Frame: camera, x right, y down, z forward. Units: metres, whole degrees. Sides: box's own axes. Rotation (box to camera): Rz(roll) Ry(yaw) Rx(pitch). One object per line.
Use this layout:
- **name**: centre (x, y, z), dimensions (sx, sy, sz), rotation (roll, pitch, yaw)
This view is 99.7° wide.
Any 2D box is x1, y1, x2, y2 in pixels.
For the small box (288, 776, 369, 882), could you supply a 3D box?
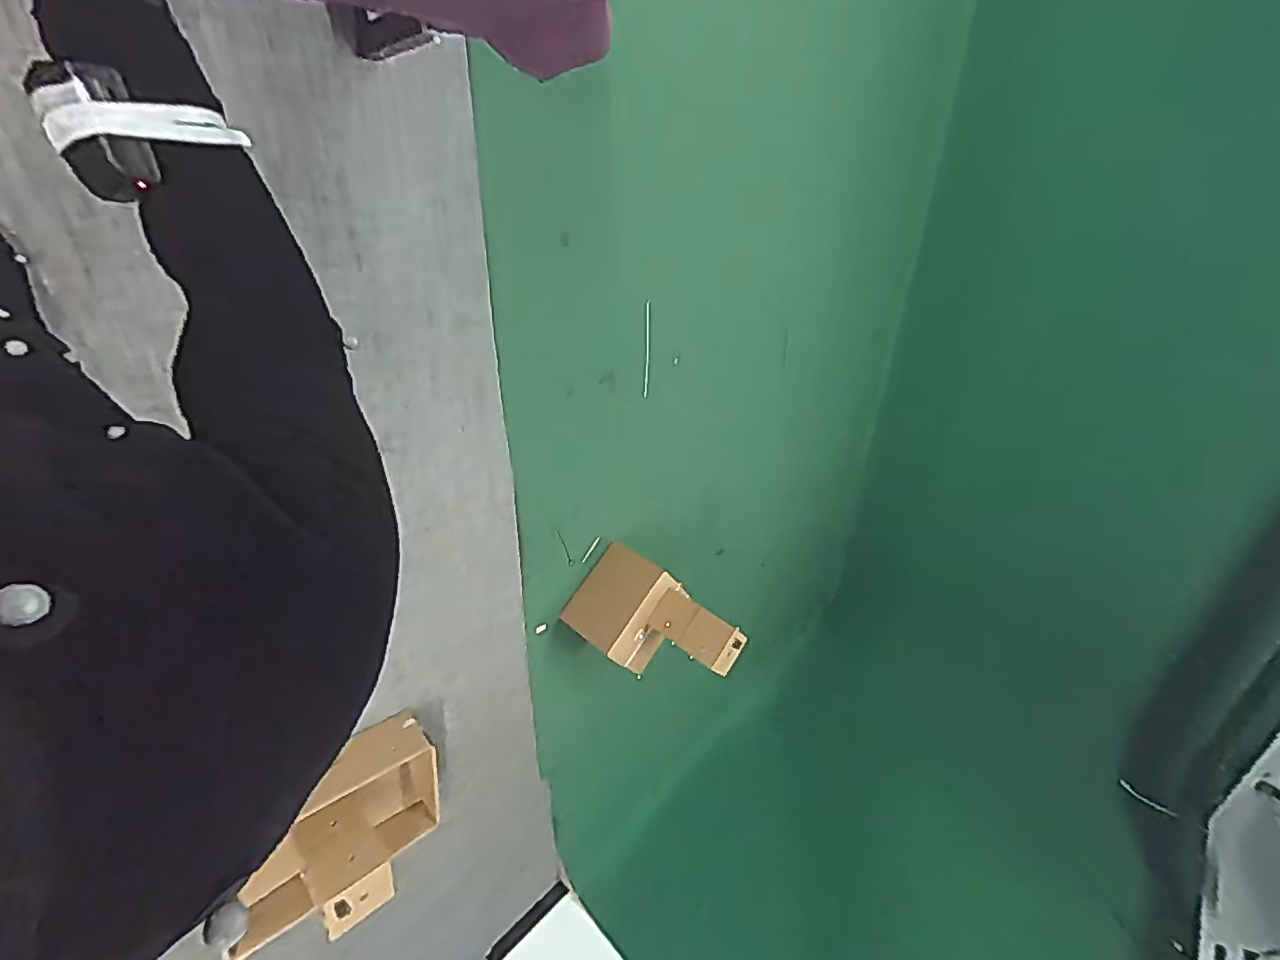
- **small box**: centre (-0.946, 1.056, 1.654), dimensions (0.179, 0.176, 0.168), rotation (-18, 122, -43)

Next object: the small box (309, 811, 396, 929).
- **small box**: centre (-0.829, 1.110, 1.552), dimensions (0.179, 0.176, 0.168), rotation (-17, 122, -44)
